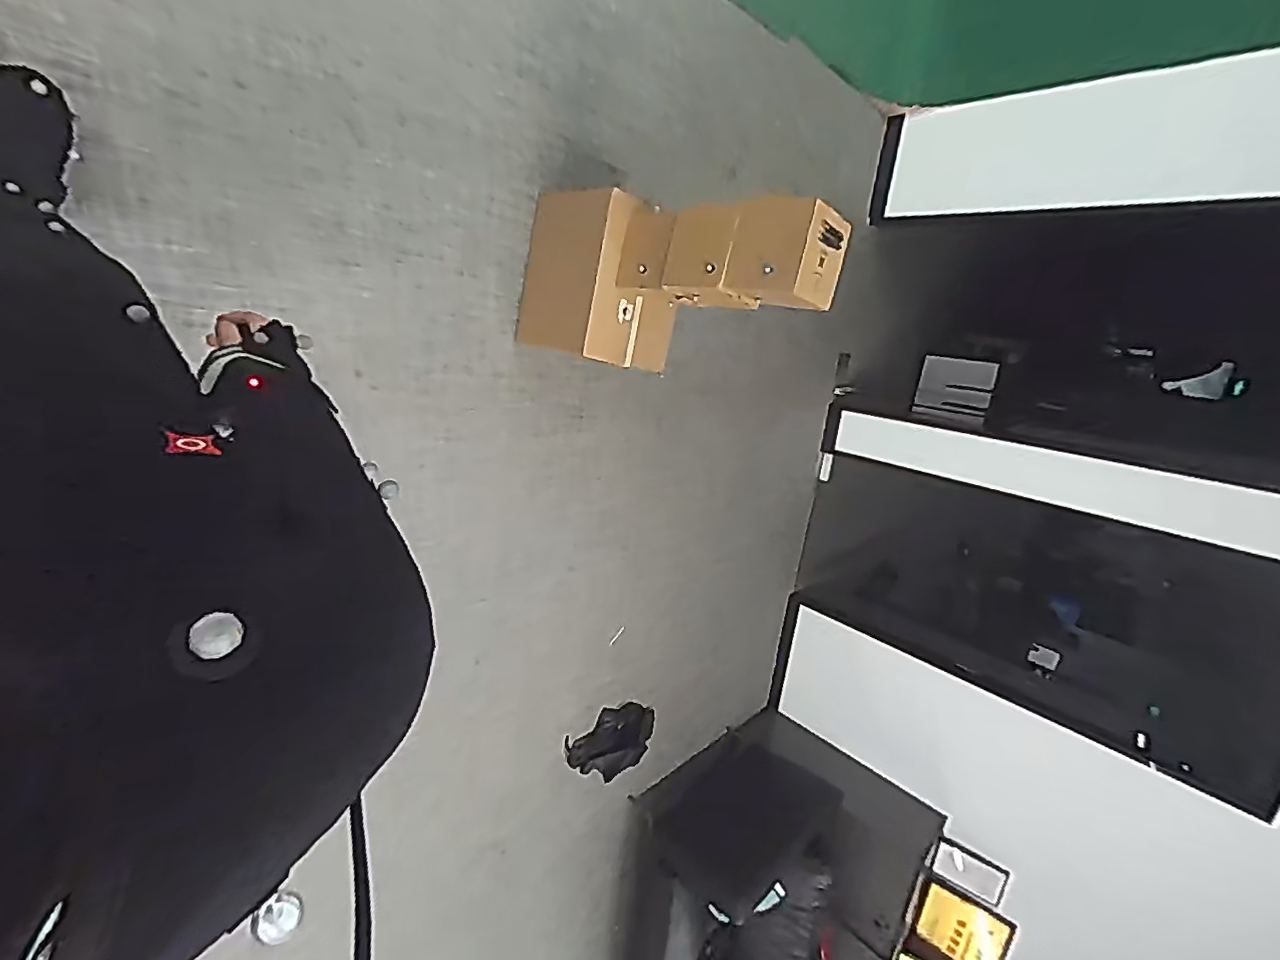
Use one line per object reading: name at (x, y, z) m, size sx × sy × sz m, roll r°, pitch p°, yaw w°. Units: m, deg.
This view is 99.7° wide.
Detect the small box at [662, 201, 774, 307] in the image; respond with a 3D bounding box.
small box at (0.172, -0.506, 1.222) m, size 0.168 × 0.176 × 0.179 m, roll 2°, pitch 106°, yaw -49°

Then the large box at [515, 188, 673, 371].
large box at (-0.115, -0.548, 1.515) m, size 0.320 × 0.320 × 0.408 m, roll 0°, pitch 107°, yaw -46°

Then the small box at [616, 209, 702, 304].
small box at (0.061, -0.546, 1.334) m, size 0.168 × 0.176 × 0.179 m, roll -1°, pitch 106°, yaw -48°
